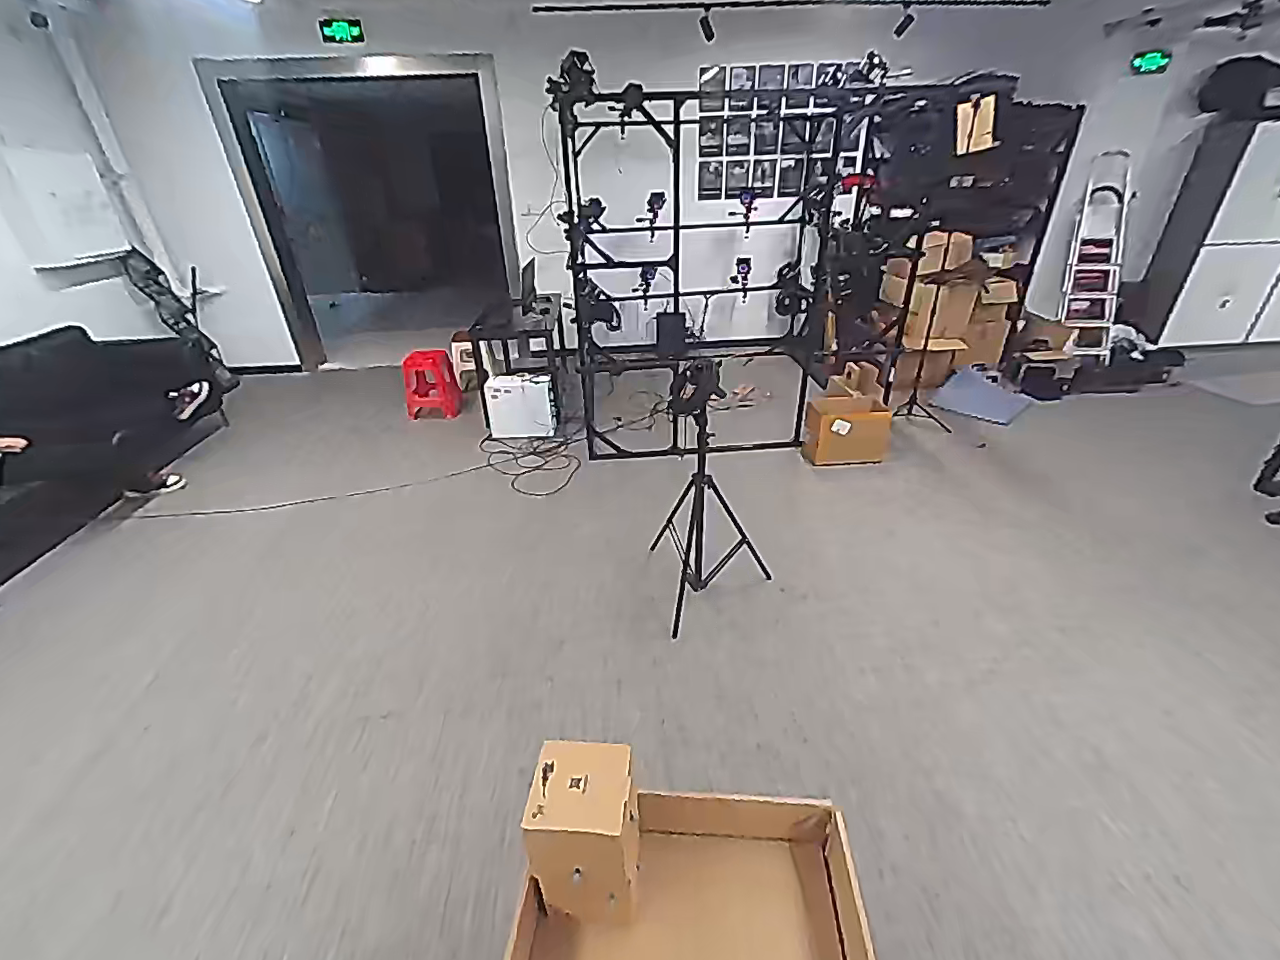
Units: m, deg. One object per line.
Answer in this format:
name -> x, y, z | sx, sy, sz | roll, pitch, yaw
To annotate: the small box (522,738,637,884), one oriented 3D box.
small box -> -0.100, 0.608, 0.995 | 0.179, 0.176, 0.168 | 1, 29, 6
